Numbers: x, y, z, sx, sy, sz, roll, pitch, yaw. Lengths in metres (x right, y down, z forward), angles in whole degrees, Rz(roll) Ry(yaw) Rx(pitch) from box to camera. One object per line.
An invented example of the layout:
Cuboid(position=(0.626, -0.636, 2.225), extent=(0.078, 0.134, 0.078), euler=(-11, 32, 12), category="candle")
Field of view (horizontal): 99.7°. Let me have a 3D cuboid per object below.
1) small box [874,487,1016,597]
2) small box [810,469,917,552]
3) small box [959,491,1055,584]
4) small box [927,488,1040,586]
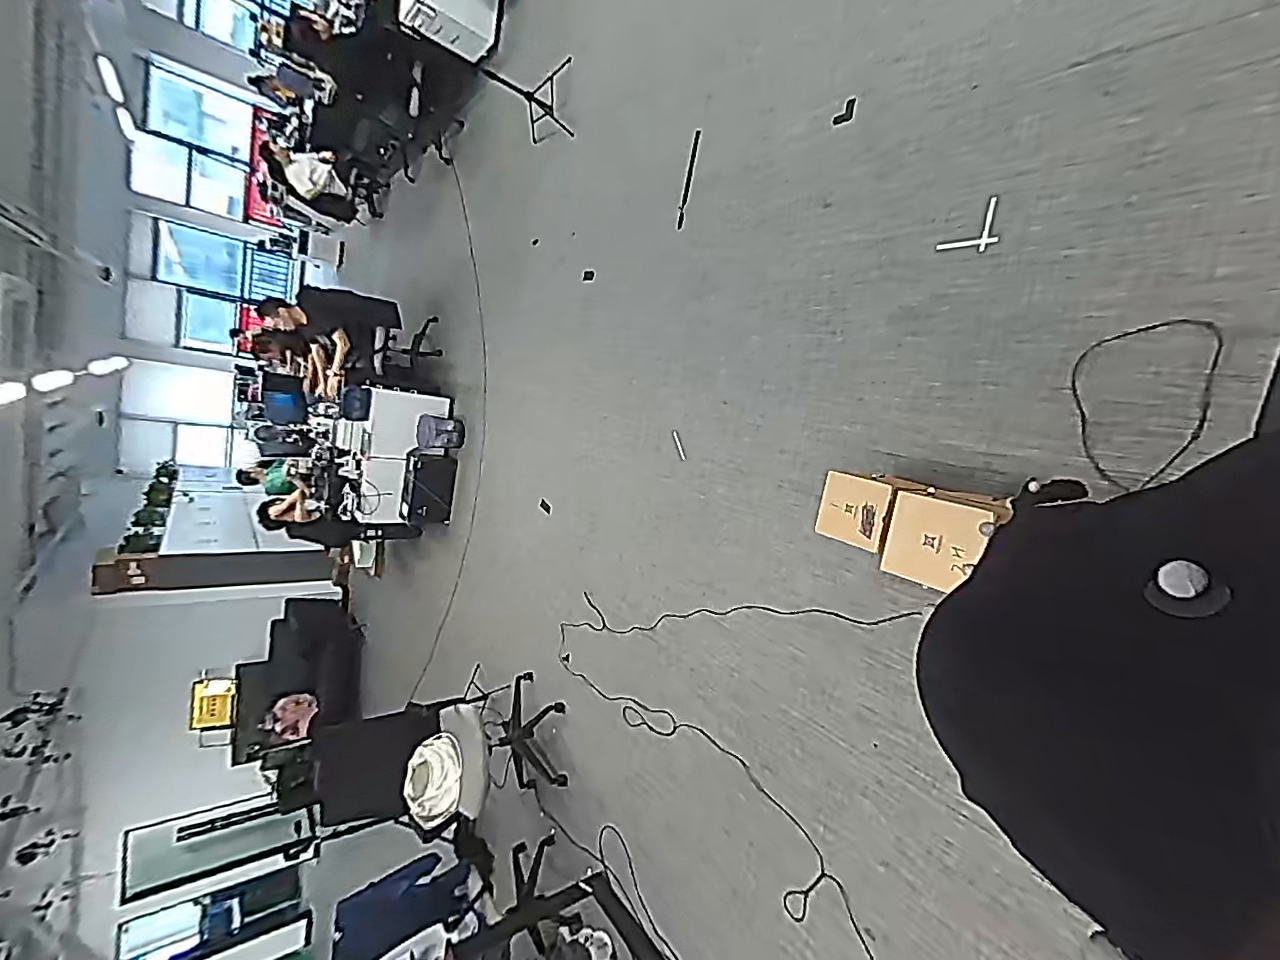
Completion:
Cuboid(position=(0.599, 0.117, 1.064), extent=(0.179, 0.176, 0.168), euler=(19, 102, 47), category="small box")
Cuboid(position=(0.567, 0.072, 1.365), extent=(0.179, 0.176, 0.168), euler=(22, 104, 50), category="small box")
Cuboid(position=(0.849, 0.131, 1.279), extent=(0.168, 0.176, 0.179), euler=(20, 102, 48), category="small box")
Cuboid(position=(0.725, 0.120, 1.172), extent=(0.179, 0.176, 0.168), euler=(19, 102, 49), category="small box")
